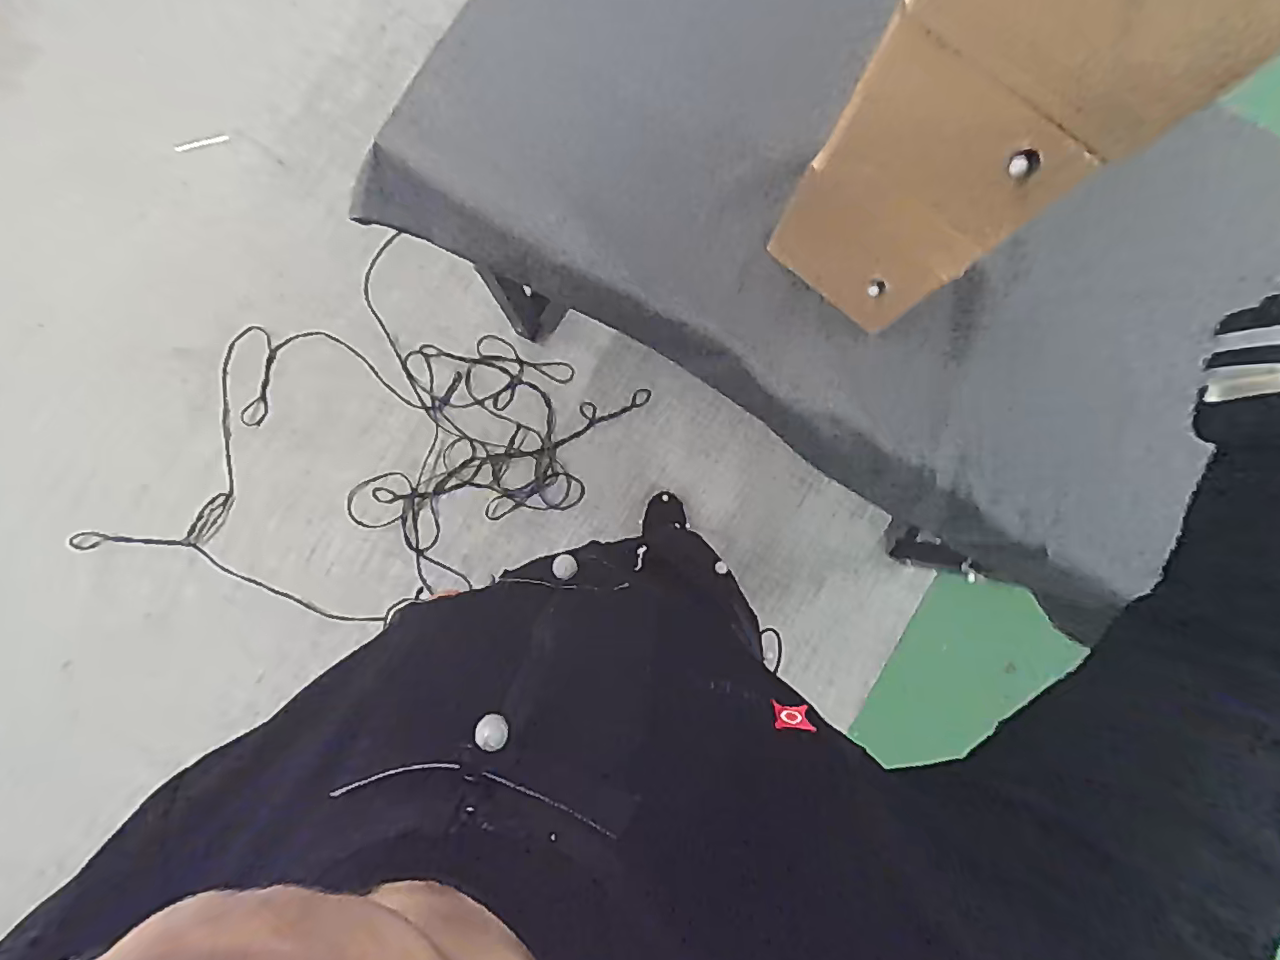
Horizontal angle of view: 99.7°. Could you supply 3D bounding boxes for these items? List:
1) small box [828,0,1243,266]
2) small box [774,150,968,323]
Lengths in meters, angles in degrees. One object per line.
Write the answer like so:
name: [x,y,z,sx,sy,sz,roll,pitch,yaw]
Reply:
small box: [0.290,-0.314,0.440,0.179,0.176,0.168,40,85,0]
small box: [0.282,-0.300,0.602,0.179,0.176,0.168,39,85,2]
